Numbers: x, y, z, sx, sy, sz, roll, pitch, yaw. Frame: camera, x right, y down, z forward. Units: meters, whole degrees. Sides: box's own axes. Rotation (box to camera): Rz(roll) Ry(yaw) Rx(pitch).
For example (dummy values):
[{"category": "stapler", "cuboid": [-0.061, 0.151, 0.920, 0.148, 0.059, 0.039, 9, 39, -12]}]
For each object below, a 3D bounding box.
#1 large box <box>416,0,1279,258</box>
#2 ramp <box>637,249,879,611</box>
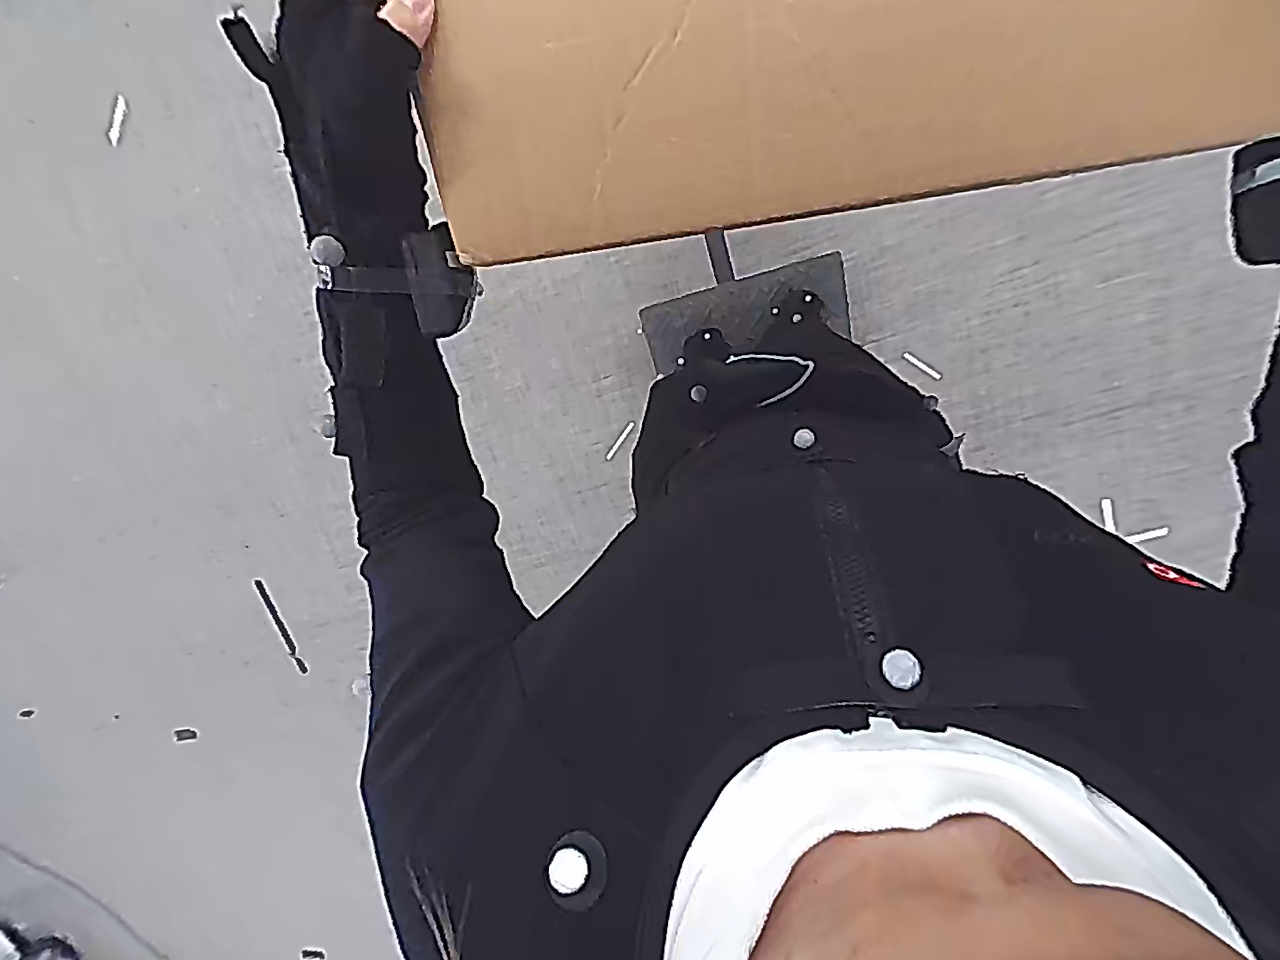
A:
[{"category": "large box", "cuboid": [0.091, -0.350, 0.360, 0.408, 0.320, 0.320, -6, 115, 9]}, {"category": "ramp", "cuboid": [0.366, -0.057, 1.500, 0.509, 0.206, 0.991, -15, 106, 11]}]
